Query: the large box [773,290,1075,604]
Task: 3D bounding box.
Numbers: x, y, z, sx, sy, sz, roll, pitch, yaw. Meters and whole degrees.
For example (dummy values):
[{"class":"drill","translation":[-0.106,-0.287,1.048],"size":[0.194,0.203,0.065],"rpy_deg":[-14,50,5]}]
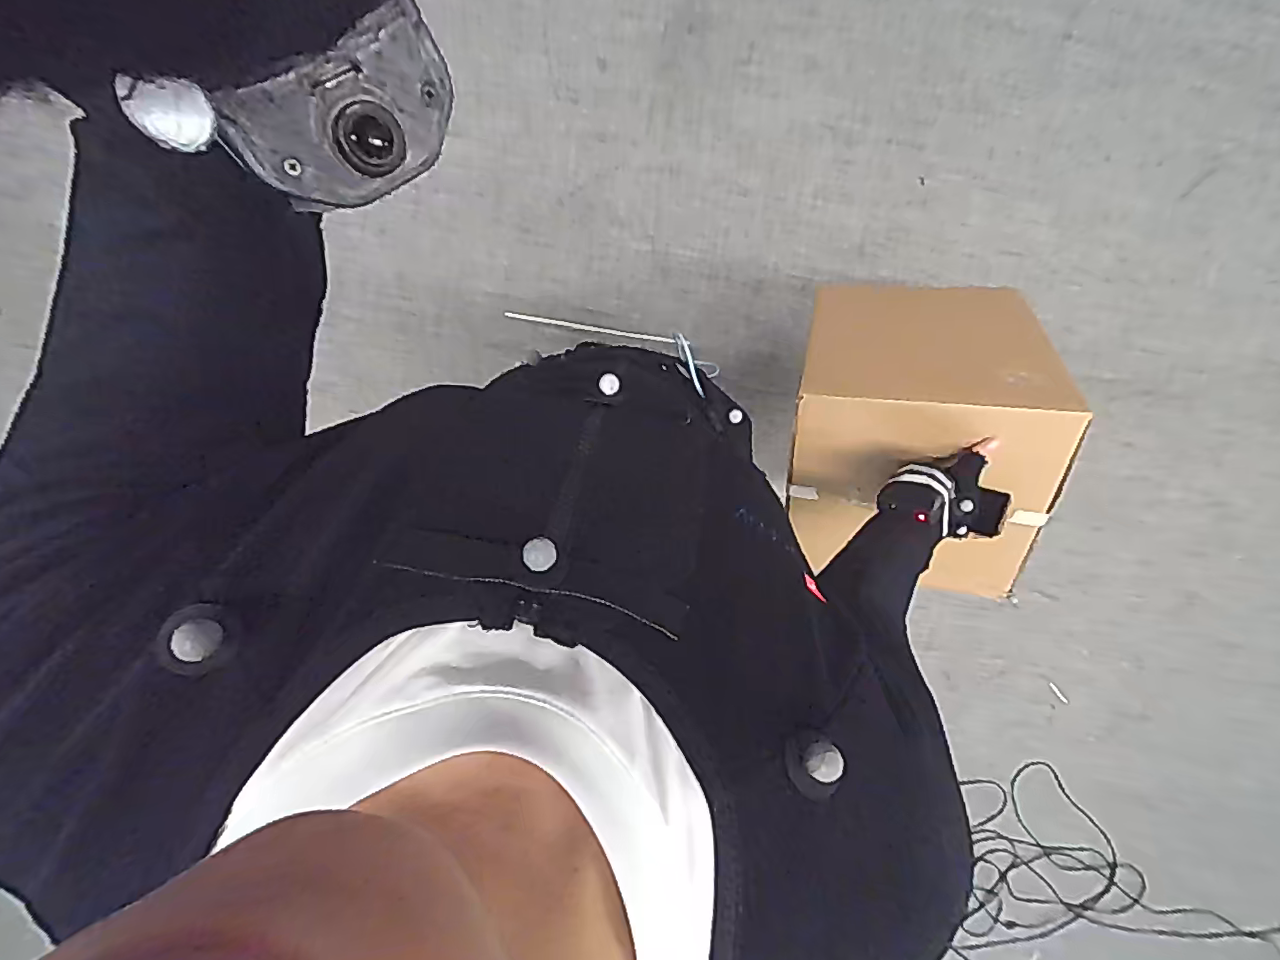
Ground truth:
[{"class":"large box","translation":[0.408,-0.082,0.867],"size":[0.320,0.408,0.320],"rpy_deg":[8,129,19]}]
